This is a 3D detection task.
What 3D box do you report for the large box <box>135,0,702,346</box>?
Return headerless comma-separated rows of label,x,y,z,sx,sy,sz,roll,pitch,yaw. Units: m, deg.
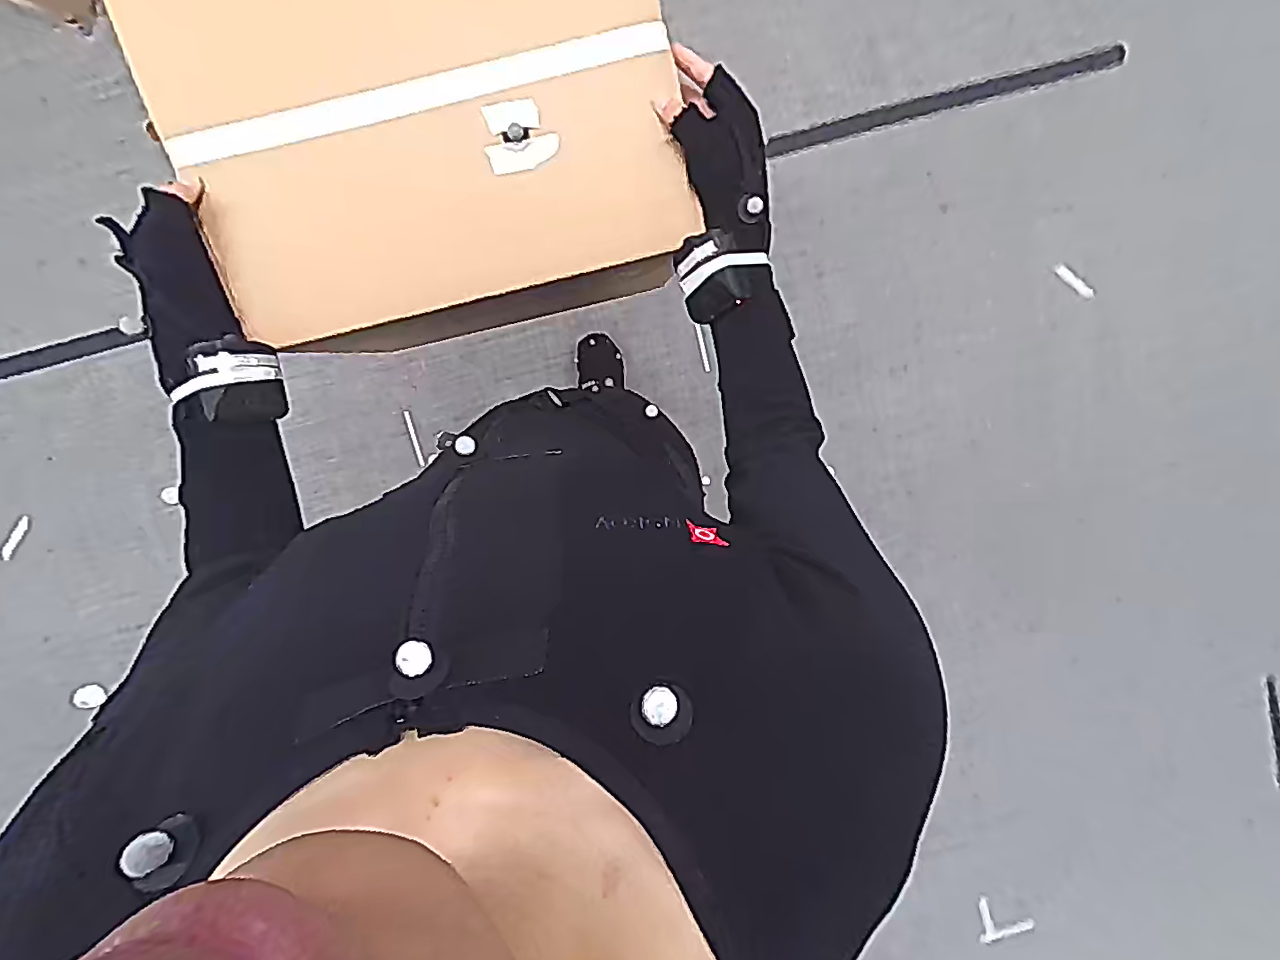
large box,-0.185,-0.351,0.590,0.408,0.320,0.320,-15,105,-2
